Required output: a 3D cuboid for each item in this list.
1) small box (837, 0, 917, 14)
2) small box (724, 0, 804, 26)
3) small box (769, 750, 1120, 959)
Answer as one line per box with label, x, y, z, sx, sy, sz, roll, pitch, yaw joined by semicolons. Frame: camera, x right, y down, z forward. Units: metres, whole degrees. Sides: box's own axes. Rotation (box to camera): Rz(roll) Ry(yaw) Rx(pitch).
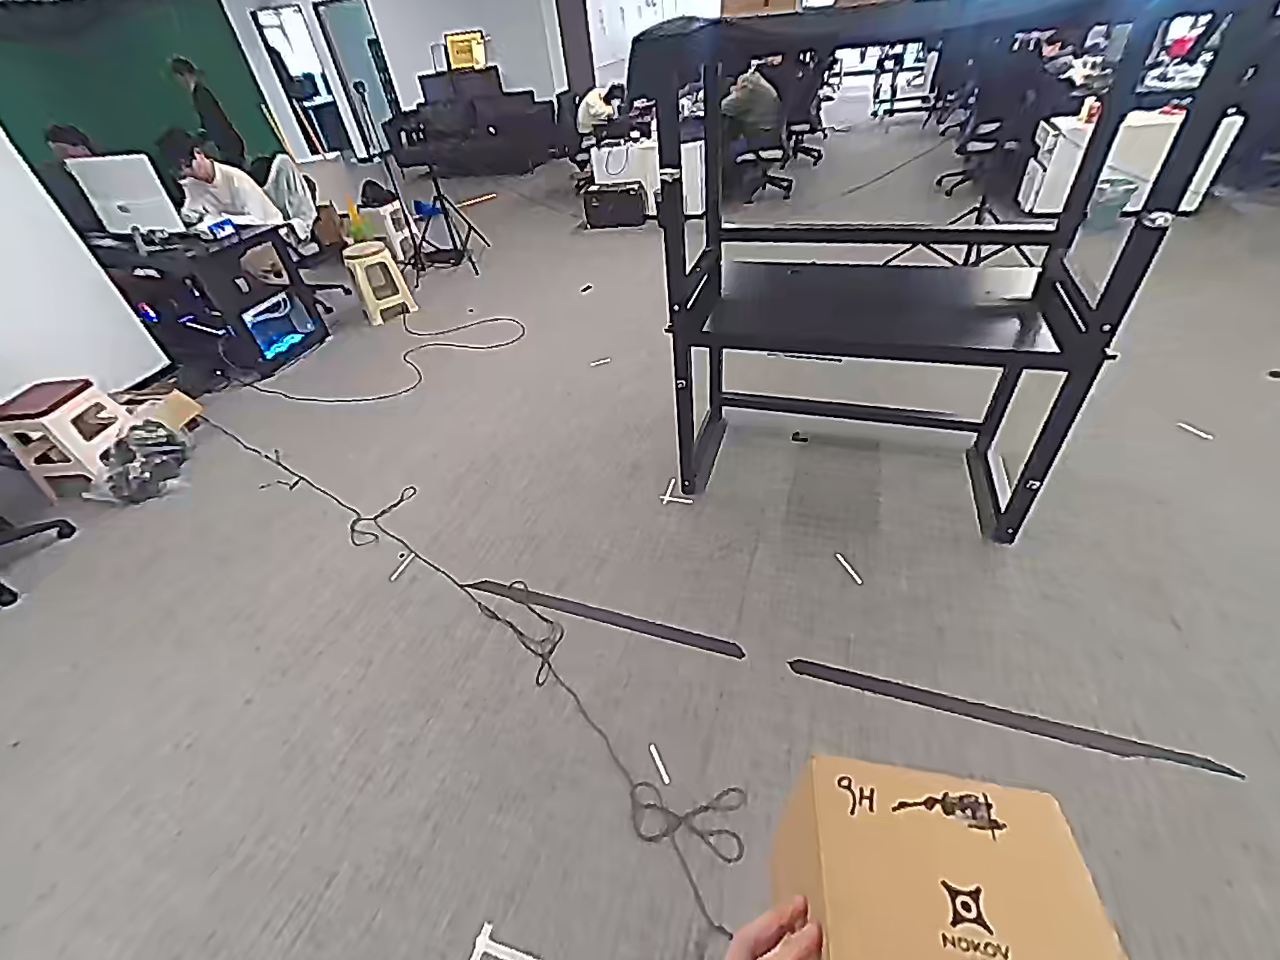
small box;0.520;-1.117;1.153;0.168;0.176;0.179;10;40;19
small box;0.284;-1.135;1.209;0.168;0.176;0.179;9;41;16
small box;0.183;0.318;0.359;0.168;0.176;0.179;8;38;6
